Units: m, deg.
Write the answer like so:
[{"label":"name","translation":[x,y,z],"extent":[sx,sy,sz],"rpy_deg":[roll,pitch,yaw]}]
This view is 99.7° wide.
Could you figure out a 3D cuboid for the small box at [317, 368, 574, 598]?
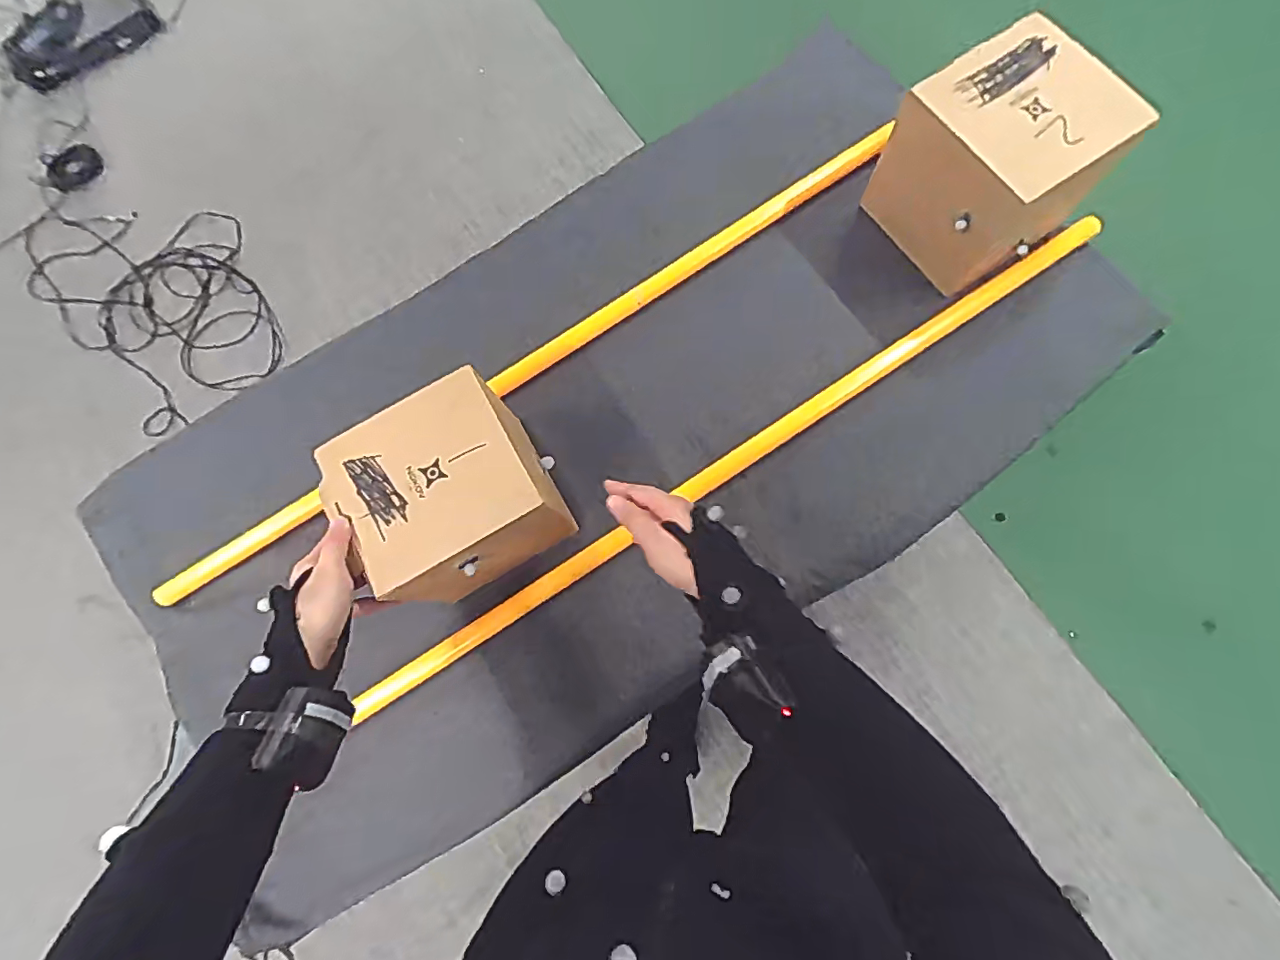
[{"label":"small box","translation":[-0.193,0.017,0.584],"extent":[0.179,0.176,0.168],"rpy_deg":[-30,77,-3]}]
